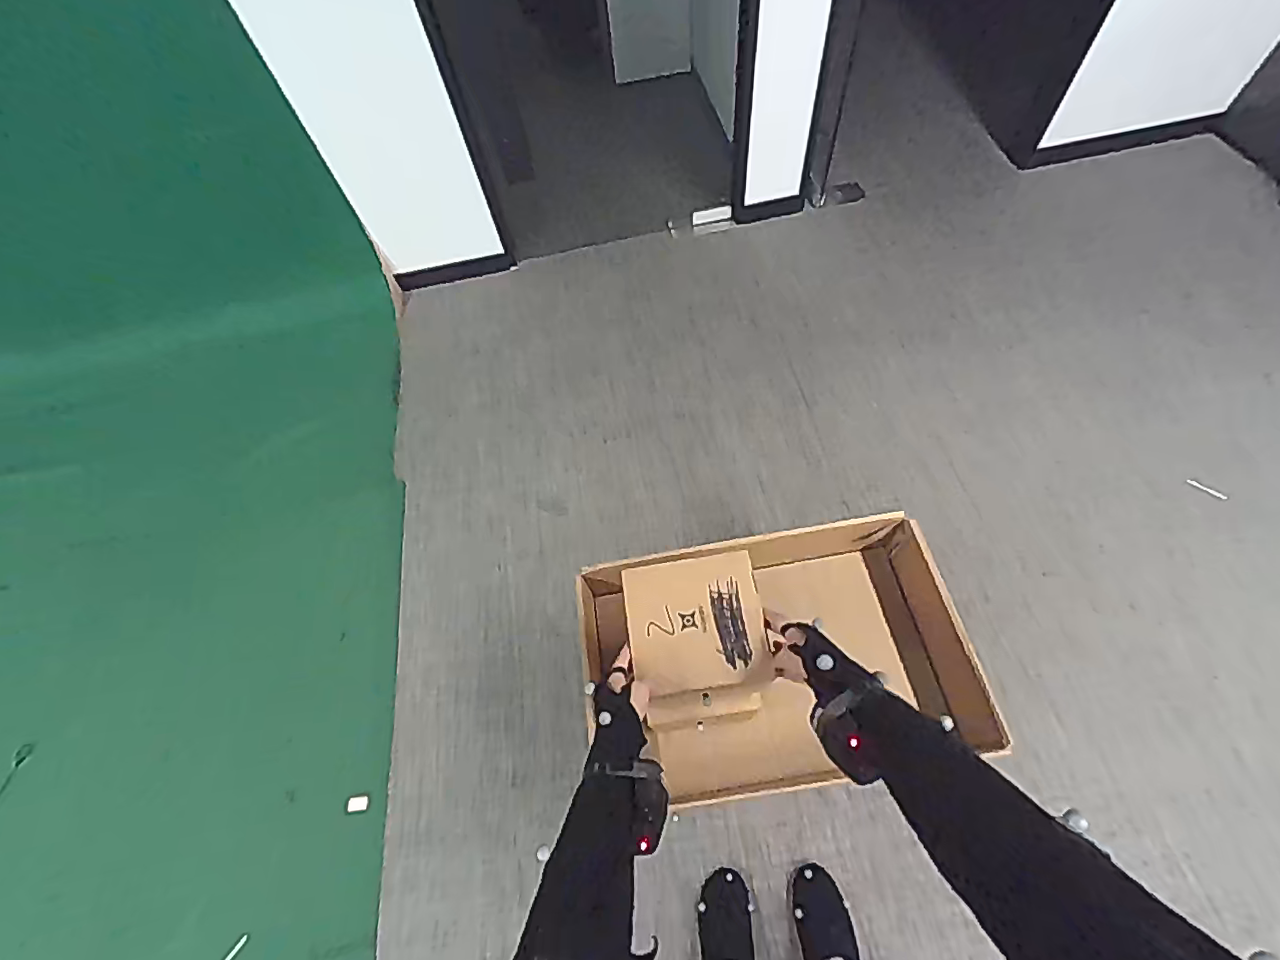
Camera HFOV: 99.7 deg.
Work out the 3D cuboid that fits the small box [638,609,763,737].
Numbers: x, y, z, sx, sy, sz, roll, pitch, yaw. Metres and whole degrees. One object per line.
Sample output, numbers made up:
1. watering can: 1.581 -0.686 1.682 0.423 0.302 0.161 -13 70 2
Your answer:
1. small box: 0.096 0.330 0.913 0.179 0.176 0.168 -9 59 1
